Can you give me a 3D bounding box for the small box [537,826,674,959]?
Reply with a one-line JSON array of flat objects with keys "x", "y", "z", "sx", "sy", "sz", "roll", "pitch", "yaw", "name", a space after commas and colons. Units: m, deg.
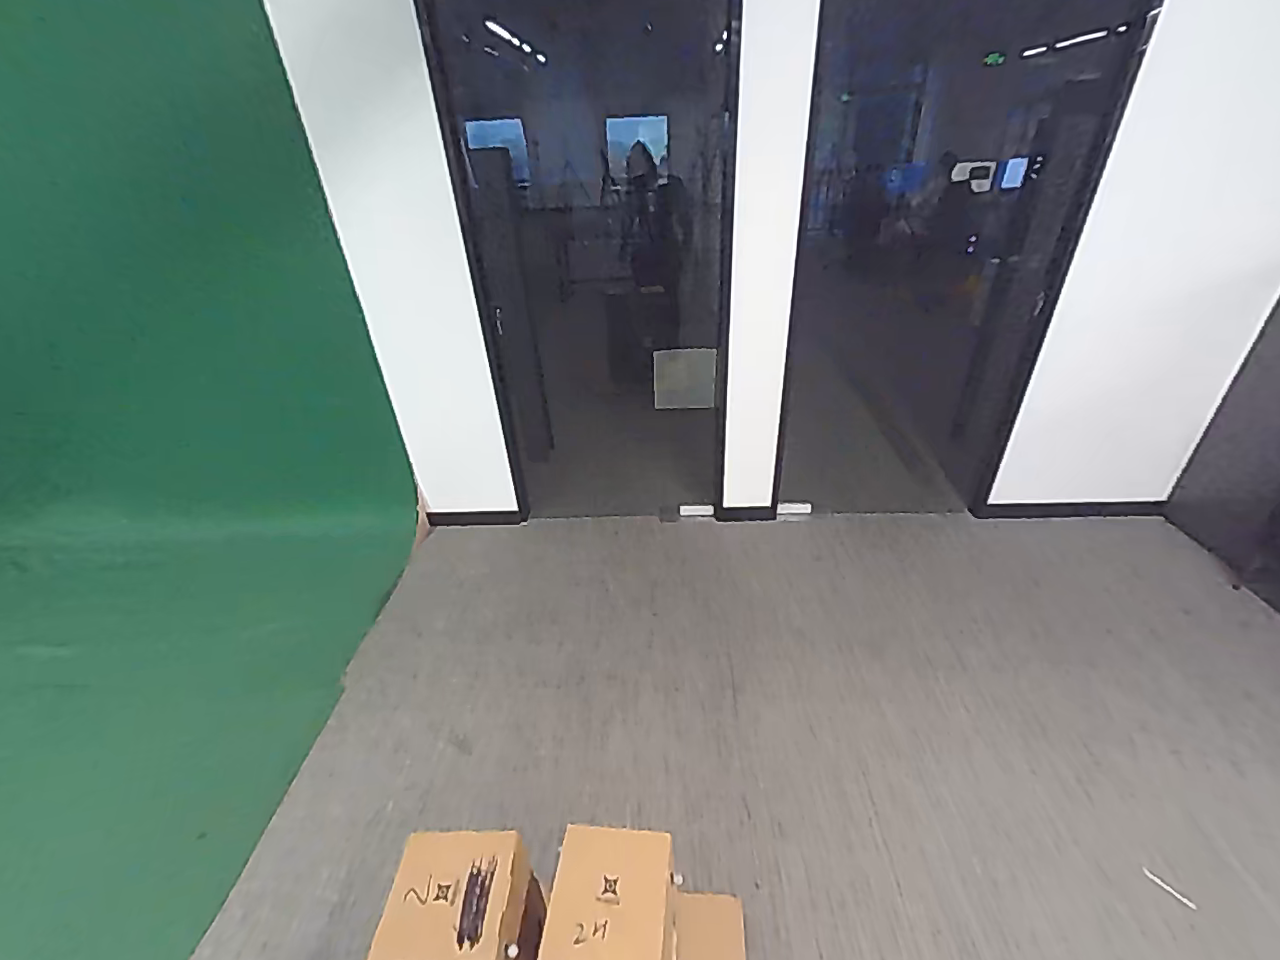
[{"x": -0.039, "y": 0.655, "z": 0.802, "sx": 0.168, "sy": 0.176, "sz": 0.179, "roll": -1, "pitch": 31, "yaw": 9, "name": "small box"}]
